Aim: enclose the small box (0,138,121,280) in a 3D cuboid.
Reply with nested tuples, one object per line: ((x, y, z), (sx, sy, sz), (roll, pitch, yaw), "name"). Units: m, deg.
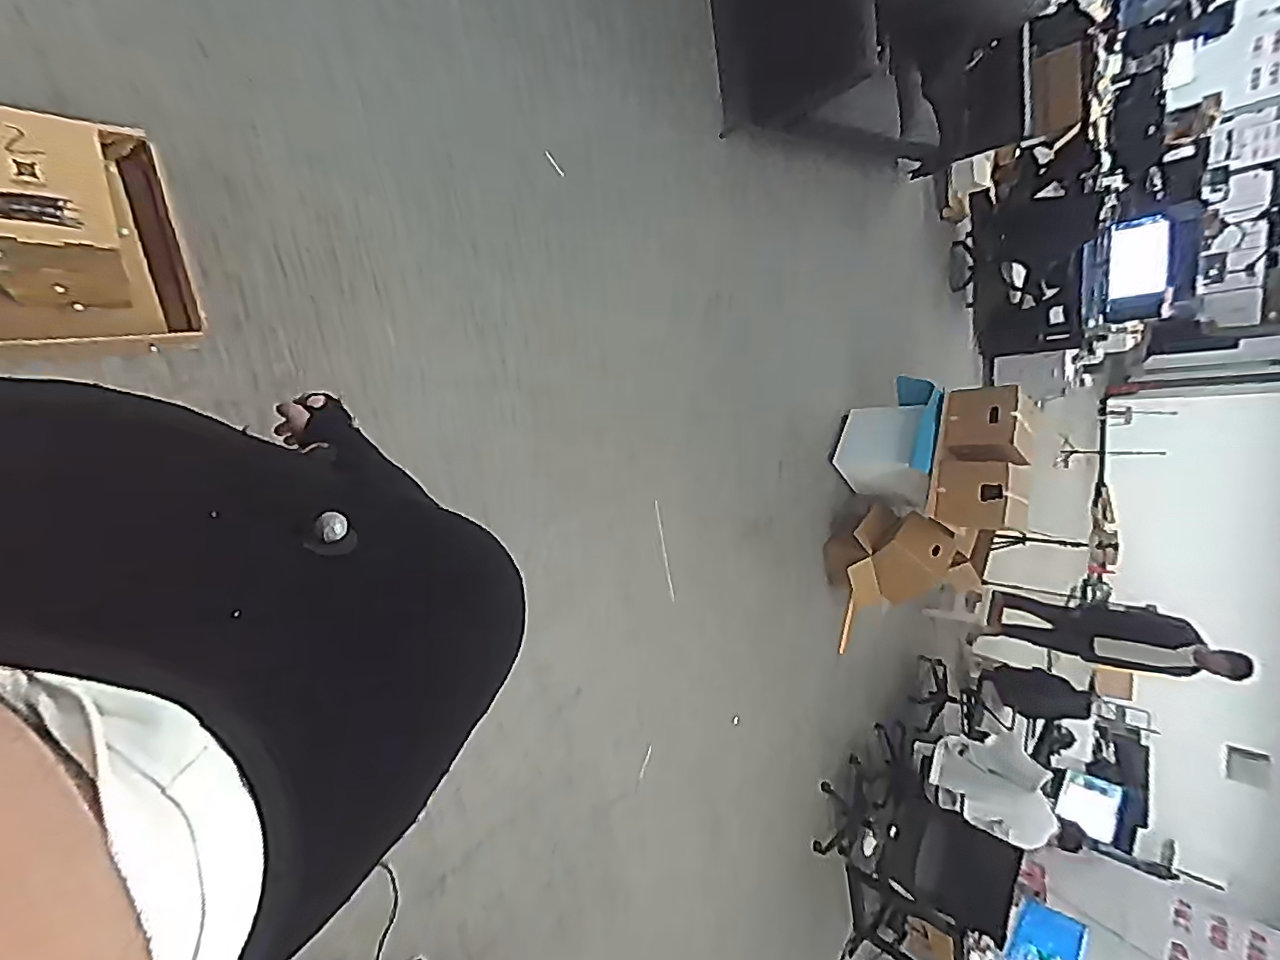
((-1.006, -0.445, 0.906), (0.168, 0.176, 0.179), (-16, 106, -41), "small box")
